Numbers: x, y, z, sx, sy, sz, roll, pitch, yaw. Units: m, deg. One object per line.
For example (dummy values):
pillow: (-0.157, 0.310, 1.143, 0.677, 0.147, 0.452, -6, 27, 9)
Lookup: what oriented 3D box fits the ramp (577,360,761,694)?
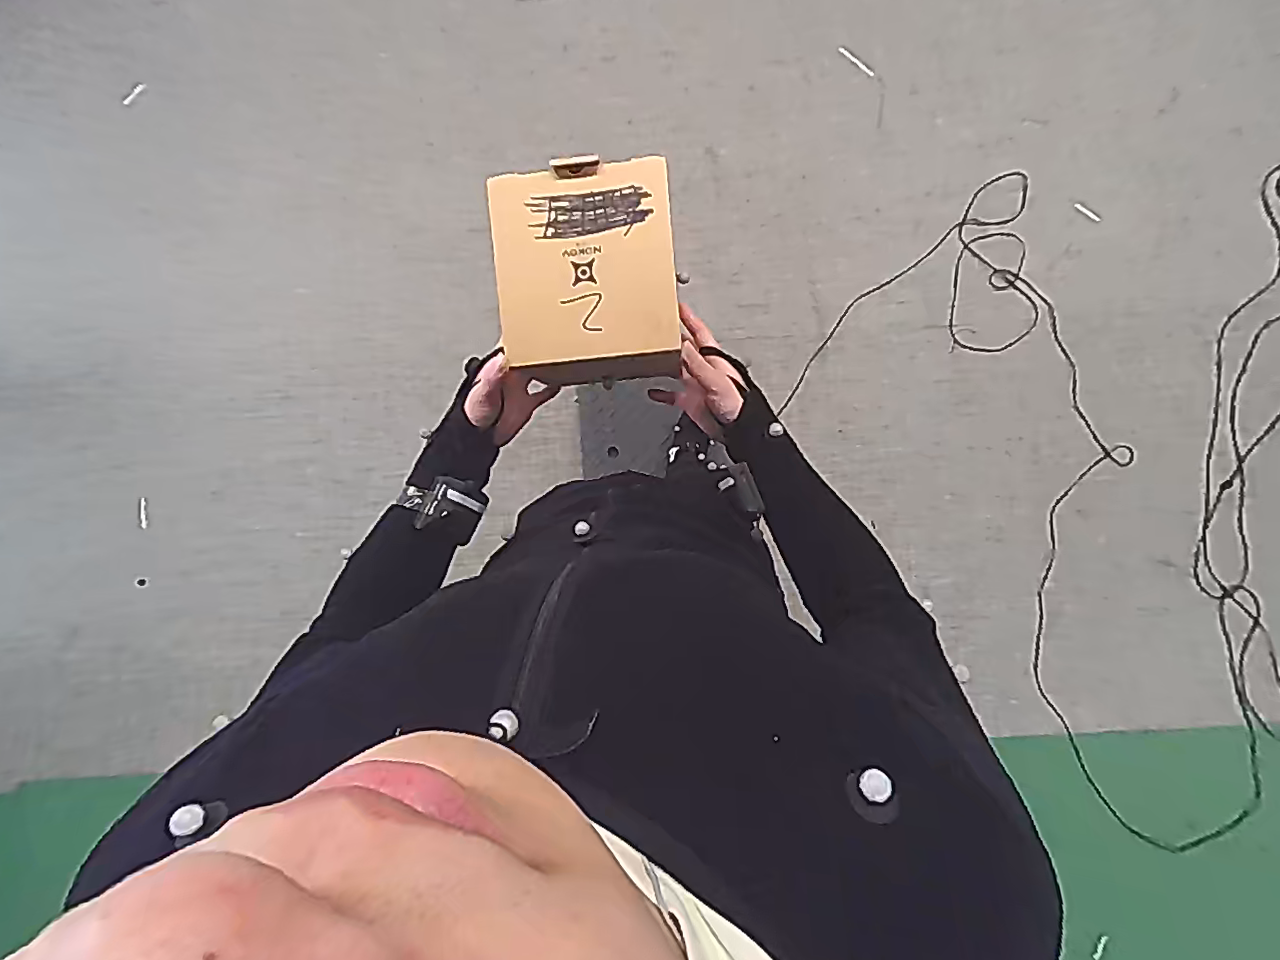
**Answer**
ramp: (0.071, 0.119, 1.663, 0.509, 0.206, 0.991, -6, 89, 3)
